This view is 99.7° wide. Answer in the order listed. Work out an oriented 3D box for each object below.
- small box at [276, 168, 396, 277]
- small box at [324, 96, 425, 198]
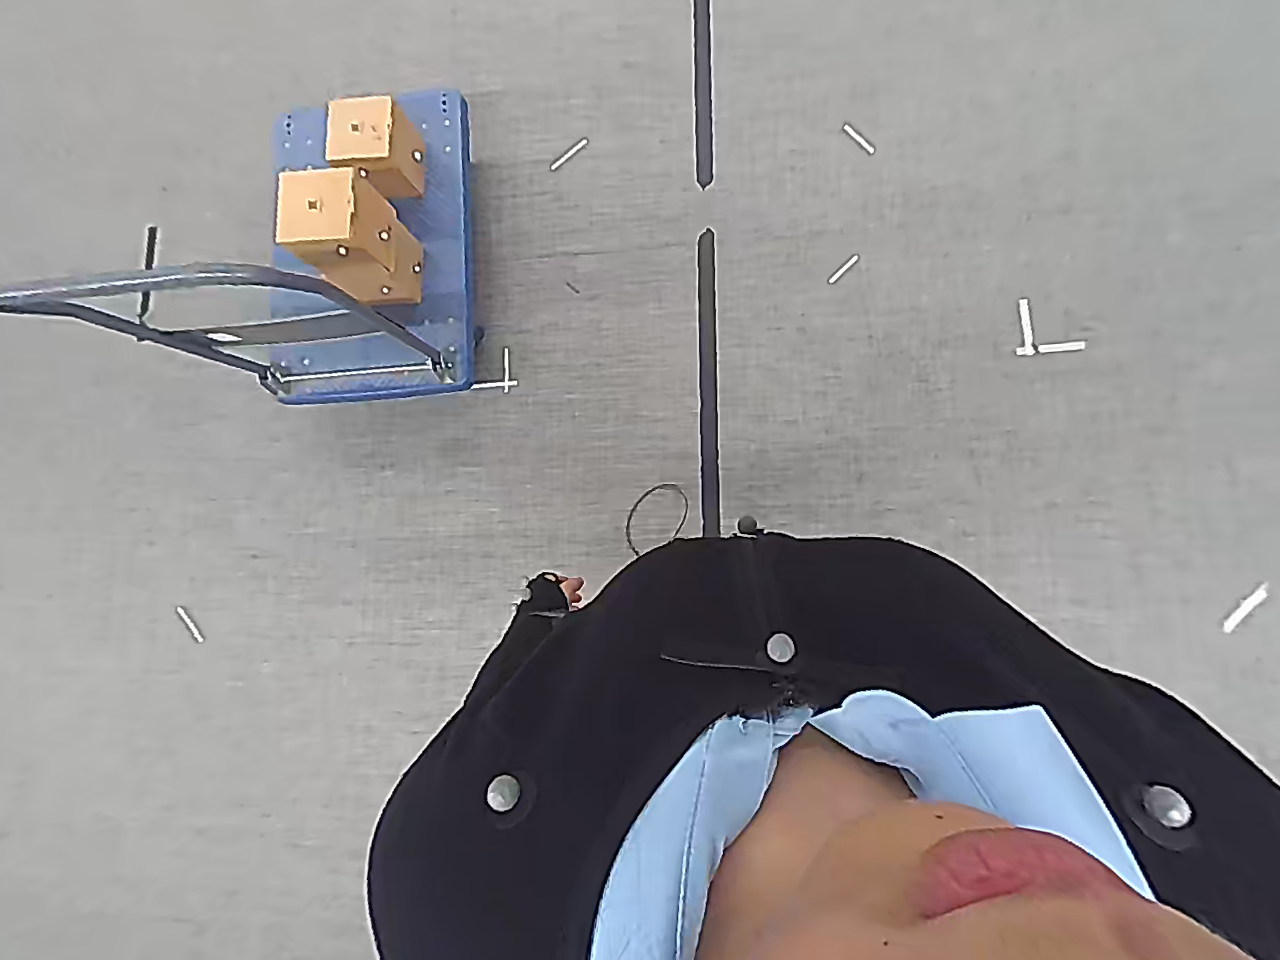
[{"bbox_3d":[-0.693,-0.583,1.245,0.179,0.176,0.168,-1,84,5],"label":"small box"},{"bbox_3d":[-0.698,-0.874,1.436,0.179,0.176,0.168,1,86,6],"label":"small box"}]
